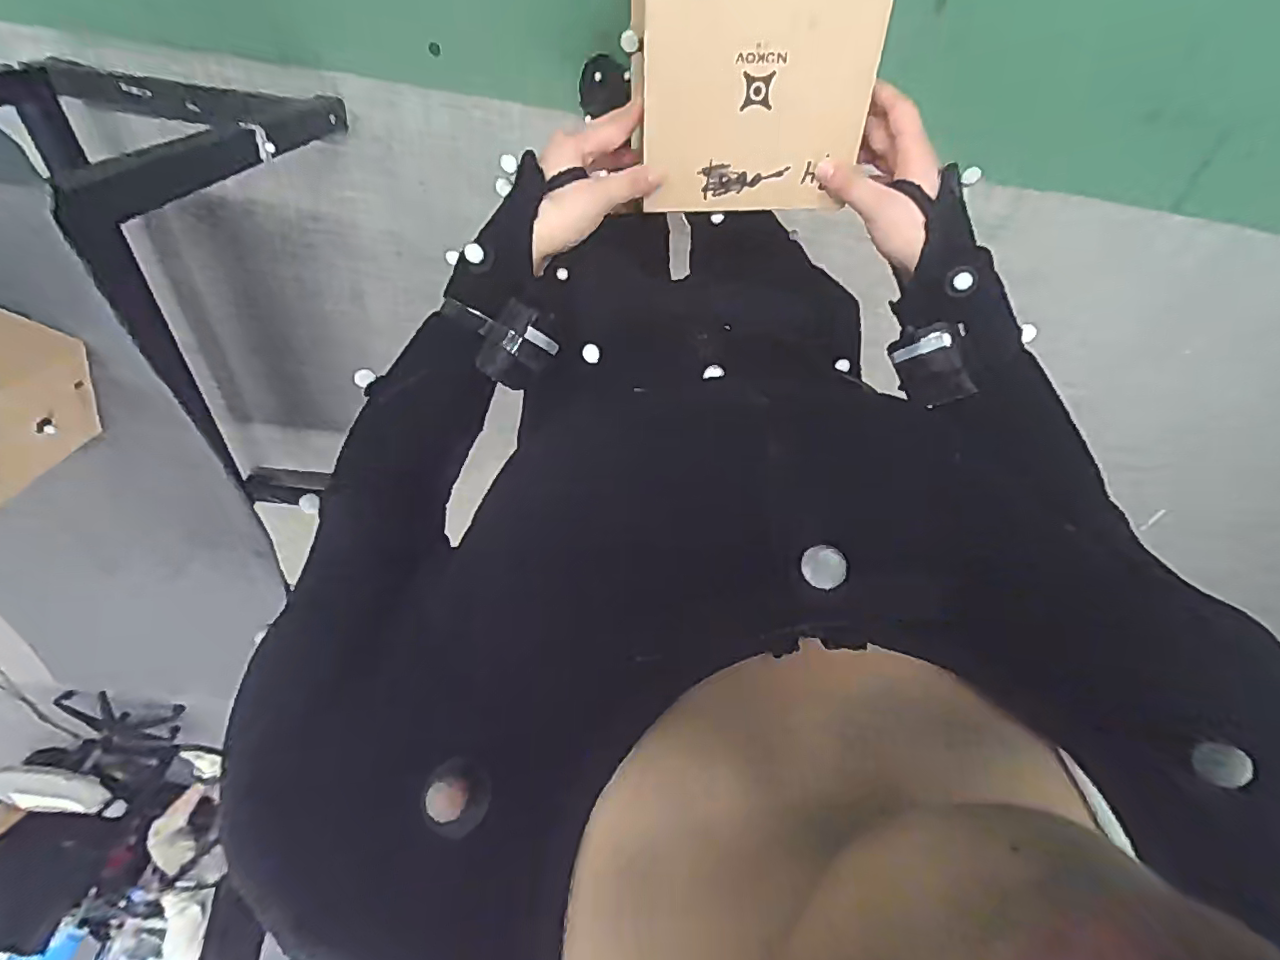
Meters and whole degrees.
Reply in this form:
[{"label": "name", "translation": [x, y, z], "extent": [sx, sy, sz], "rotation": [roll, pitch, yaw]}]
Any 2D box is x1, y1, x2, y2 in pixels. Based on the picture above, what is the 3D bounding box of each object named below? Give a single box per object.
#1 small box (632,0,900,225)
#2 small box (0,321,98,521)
[{"label": "small box", "translation": [0.081, -0.324, 0.438], "extent": [0.168, 0.176, 0.179], "rotation": [-3, 131, -3]}, {"label": "small box", "translation": [-0.808, -0.087, 0.647], "extent": [0.179, 0.176, 0.168], "rotation": [24, 128, -15]}]
